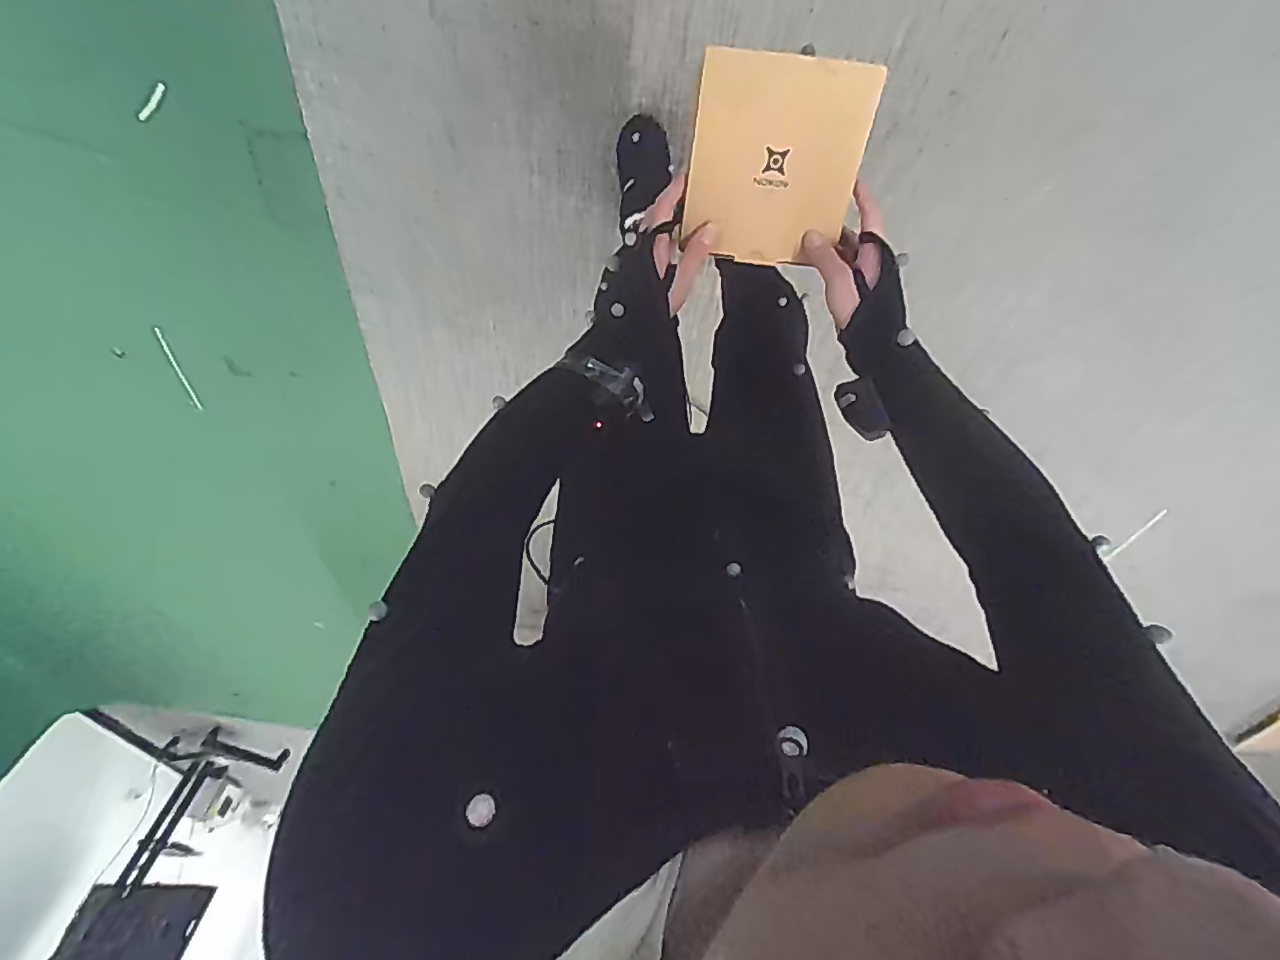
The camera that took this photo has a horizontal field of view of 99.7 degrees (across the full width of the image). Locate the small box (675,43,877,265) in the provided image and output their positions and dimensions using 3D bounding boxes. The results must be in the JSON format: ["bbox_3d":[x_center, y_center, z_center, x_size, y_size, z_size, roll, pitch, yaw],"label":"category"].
[{"bbox_3d":[0.130,-0.357,0.600,0.168,0.176,0.179,7,125,-1],"label":"small box"}]
